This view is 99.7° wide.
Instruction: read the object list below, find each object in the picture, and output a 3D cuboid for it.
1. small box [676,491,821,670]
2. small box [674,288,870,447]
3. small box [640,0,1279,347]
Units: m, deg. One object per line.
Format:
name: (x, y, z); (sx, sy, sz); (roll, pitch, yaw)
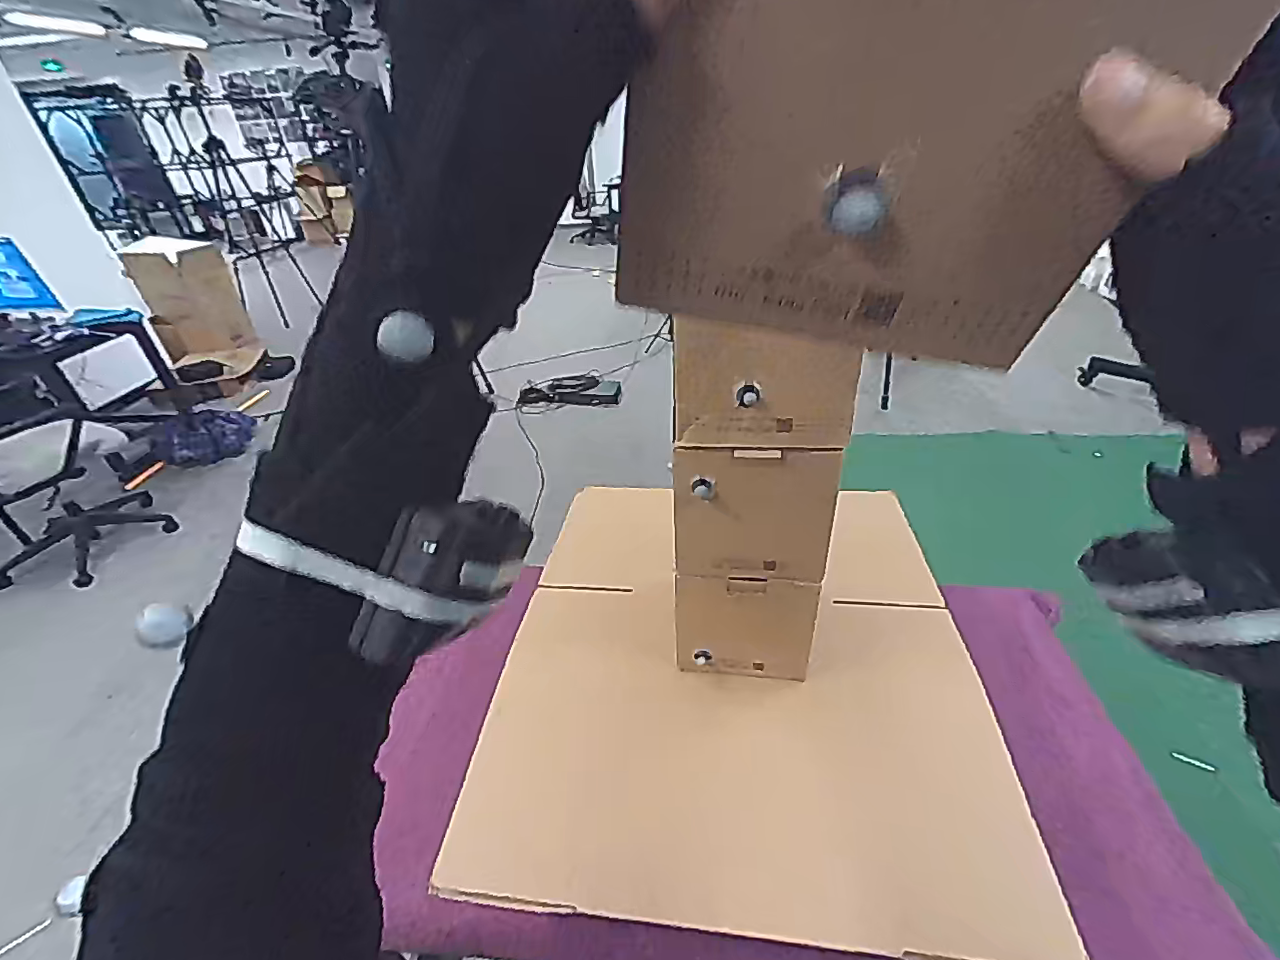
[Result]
small box: (0.135, 0.132, 0.720); (0.168, 0.176, 0.179); (0, 34, 6)
small box: (0.122, -0.148, 0.548); (0.168, 0.176, 0.179); (2, 32, 6)
small box: (0.097, -0.183, 0.218); (0.168, 0.176, 0.179); (11, 50, 3)
